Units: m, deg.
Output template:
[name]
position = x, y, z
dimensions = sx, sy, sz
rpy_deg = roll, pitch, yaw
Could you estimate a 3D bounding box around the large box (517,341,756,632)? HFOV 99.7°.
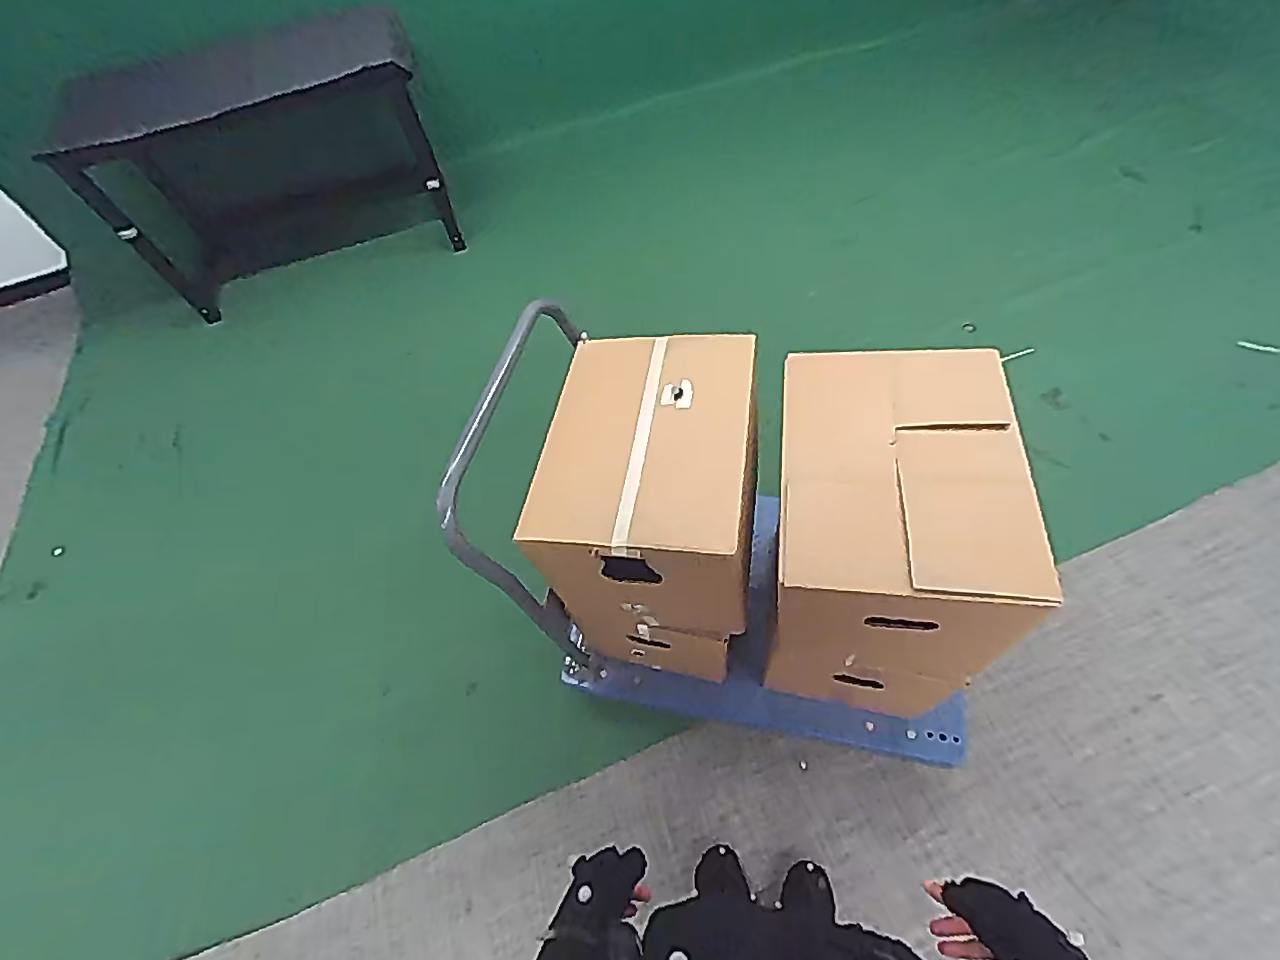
[large box]
position = 0.033, 0.015, 0.945
dimensions = 0.320, 0.320, 0.408
rpy_deg = 2, 56, 15
